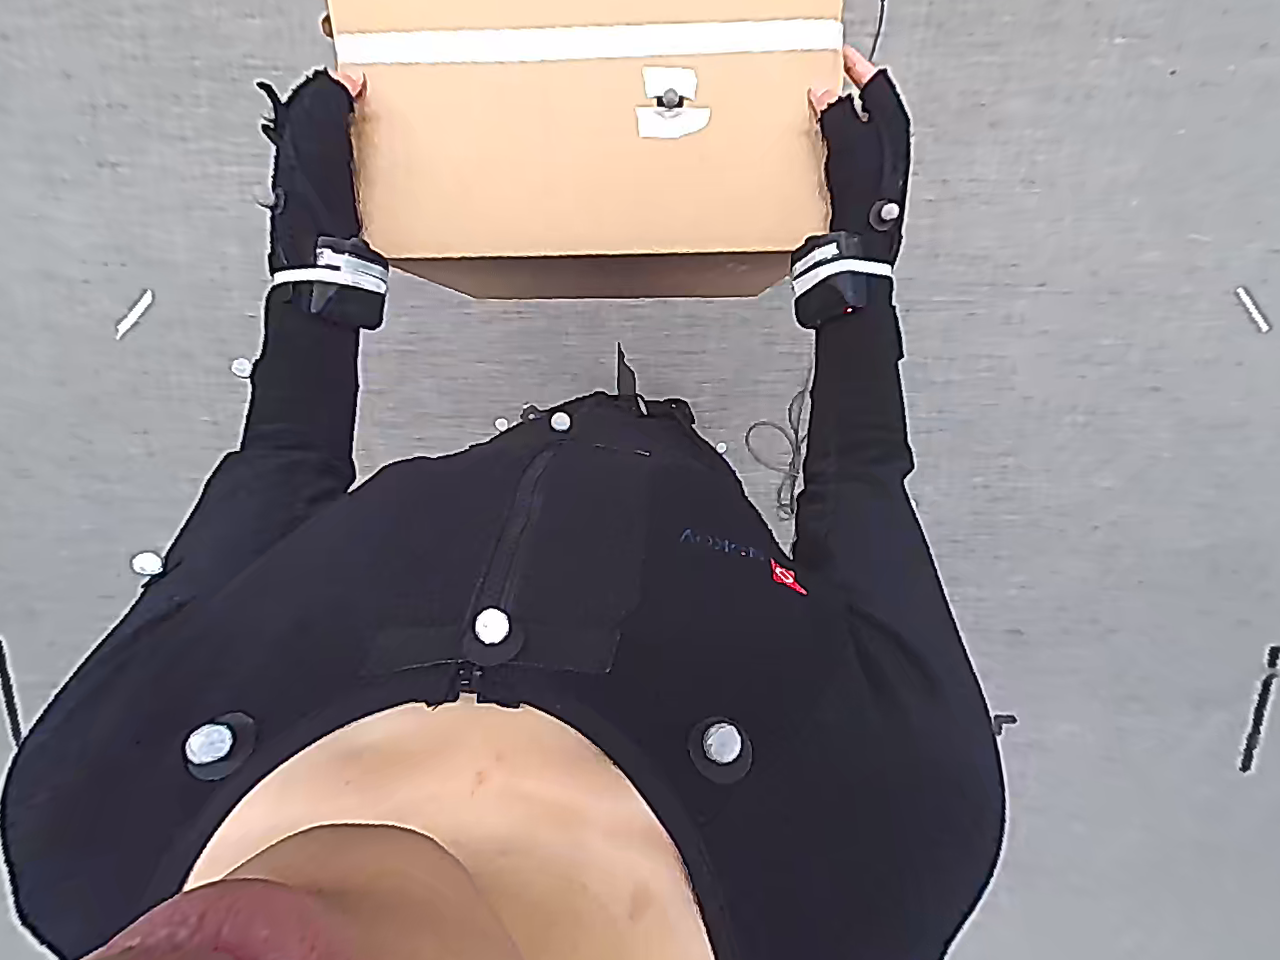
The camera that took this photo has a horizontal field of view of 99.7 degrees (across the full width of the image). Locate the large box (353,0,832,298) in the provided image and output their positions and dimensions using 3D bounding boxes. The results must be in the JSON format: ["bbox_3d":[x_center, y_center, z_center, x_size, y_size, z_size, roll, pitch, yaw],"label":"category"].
[{"bbox_3d":[-0.040,-0.387,0.599,0.408,0.320,0.320,-1,103,0],"label":"large box"}]
